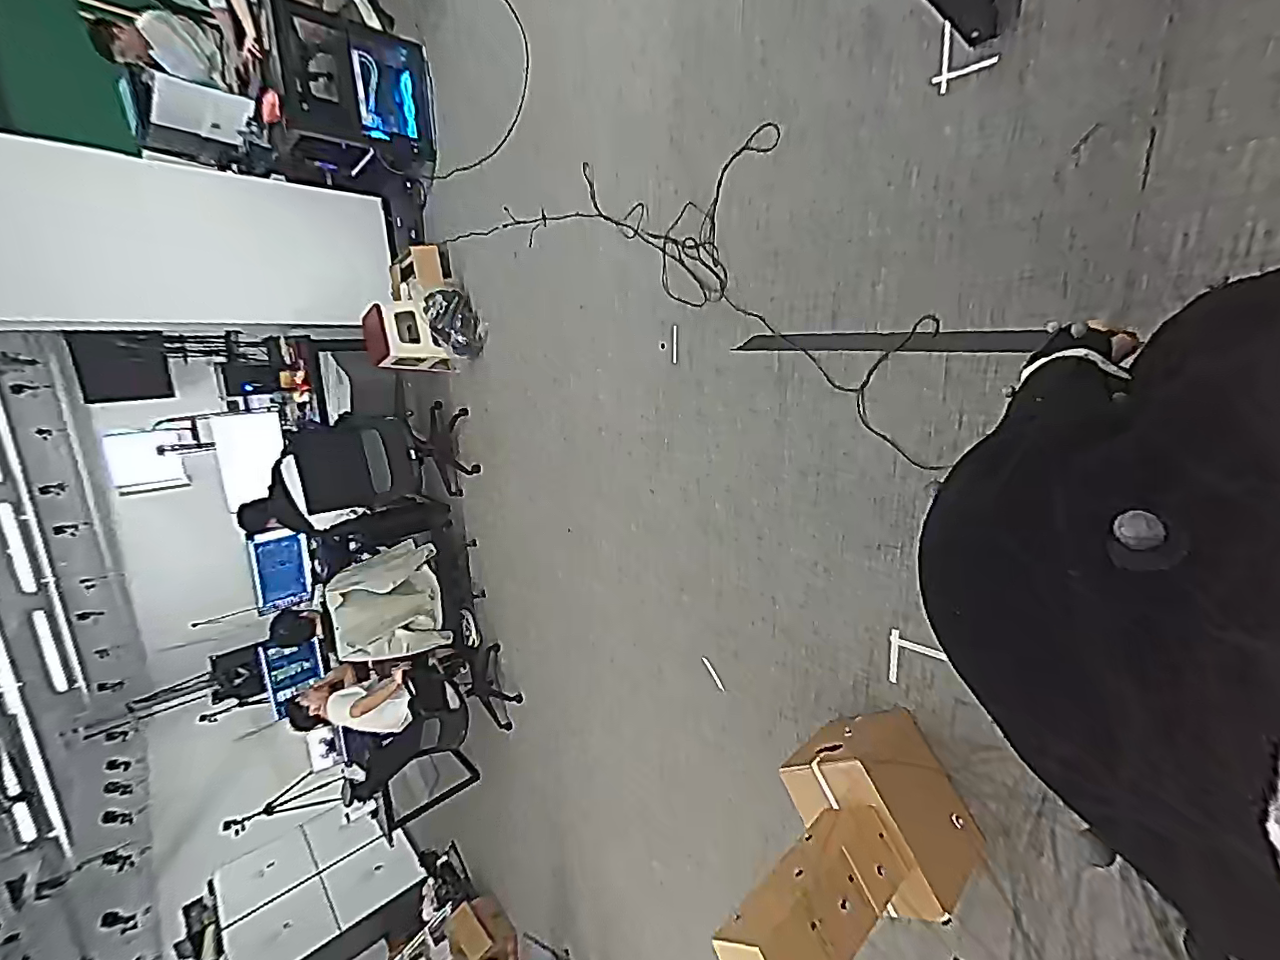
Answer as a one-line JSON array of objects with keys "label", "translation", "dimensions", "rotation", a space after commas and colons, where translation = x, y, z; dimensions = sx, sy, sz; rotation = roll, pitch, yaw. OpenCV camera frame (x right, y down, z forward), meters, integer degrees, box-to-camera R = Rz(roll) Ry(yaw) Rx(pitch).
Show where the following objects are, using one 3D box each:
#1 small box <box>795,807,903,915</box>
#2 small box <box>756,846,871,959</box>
[{"label": "small box", "translation": [0.544, 0.969, 1.390], "dimensions": [0.179, 0.176, 0.168], "rotation": [-44, 68, 45]}, {"label": "small box", "translation": [0.420, 1.006, 1.288], "dimensions": [0.179, 0.176, 0.168], "rotation": [-43, 68, 45]}]
